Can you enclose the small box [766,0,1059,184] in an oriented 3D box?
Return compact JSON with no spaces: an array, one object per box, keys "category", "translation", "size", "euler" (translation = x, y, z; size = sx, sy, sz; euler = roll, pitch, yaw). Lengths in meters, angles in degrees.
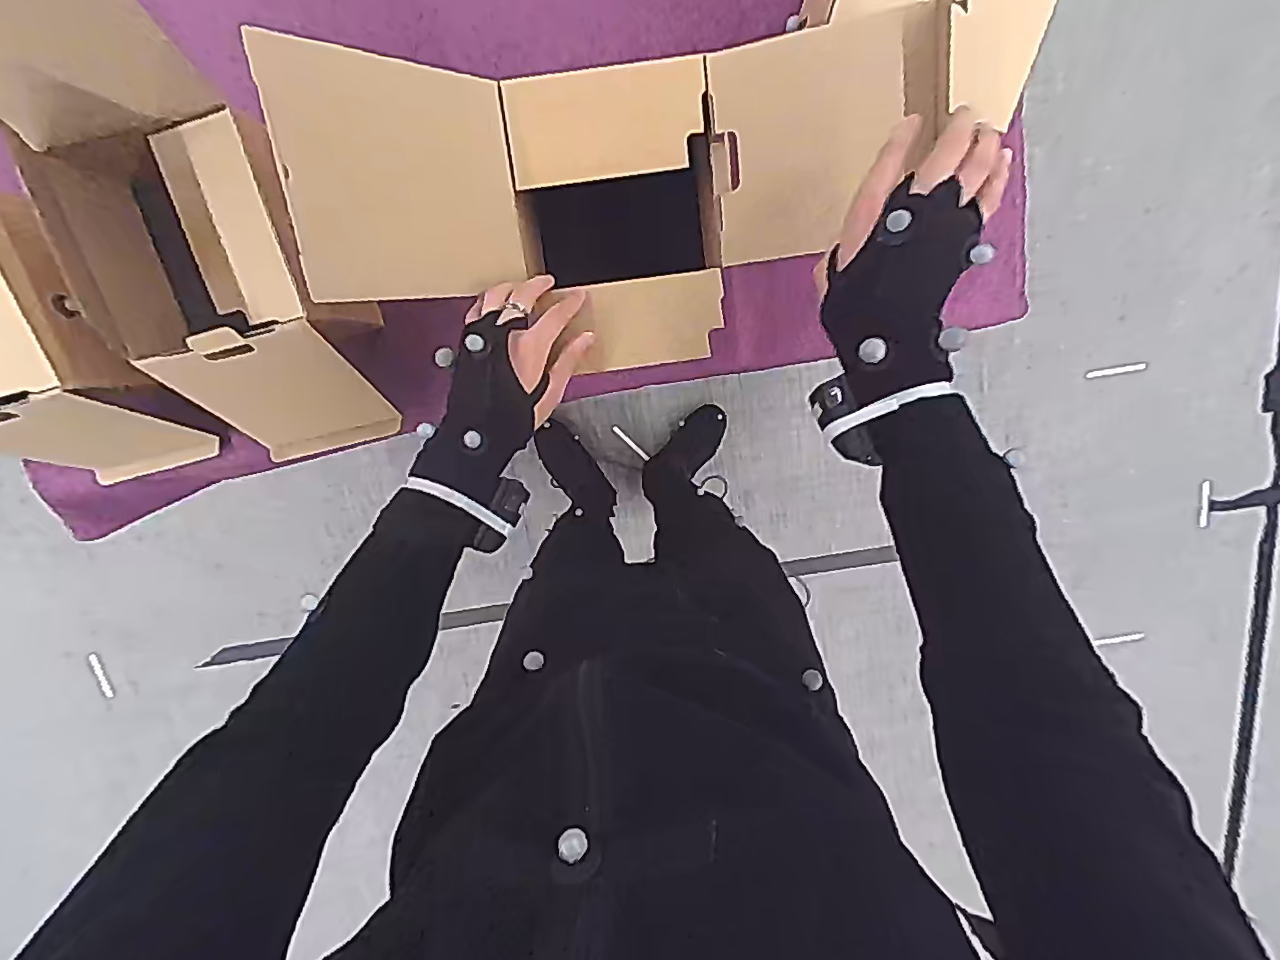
[{"category":"small box","translation":[0.242,-0.402,0.505],"size":[0.179,0.176,0.168],"euler":[16,103,-5]}]
